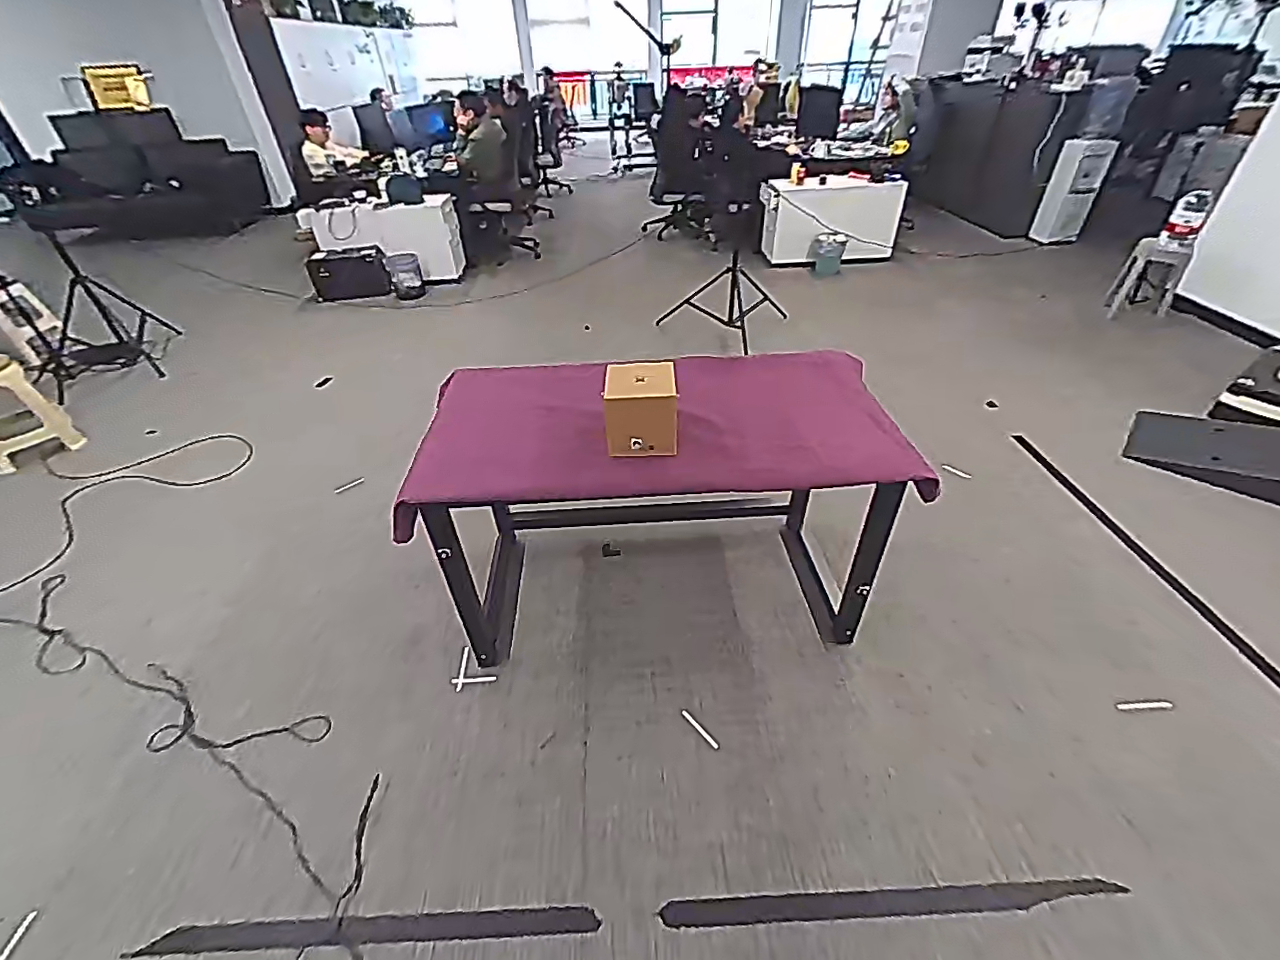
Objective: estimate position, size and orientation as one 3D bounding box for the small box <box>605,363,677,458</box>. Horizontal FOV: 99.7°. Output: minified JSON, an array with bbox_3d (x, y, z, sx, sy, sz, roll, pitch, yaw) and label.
[{"bbox_3d":[0.004,-0.172,1.330,0.168,0.176,0.179,-3,39,1],"label":"small box"}]
